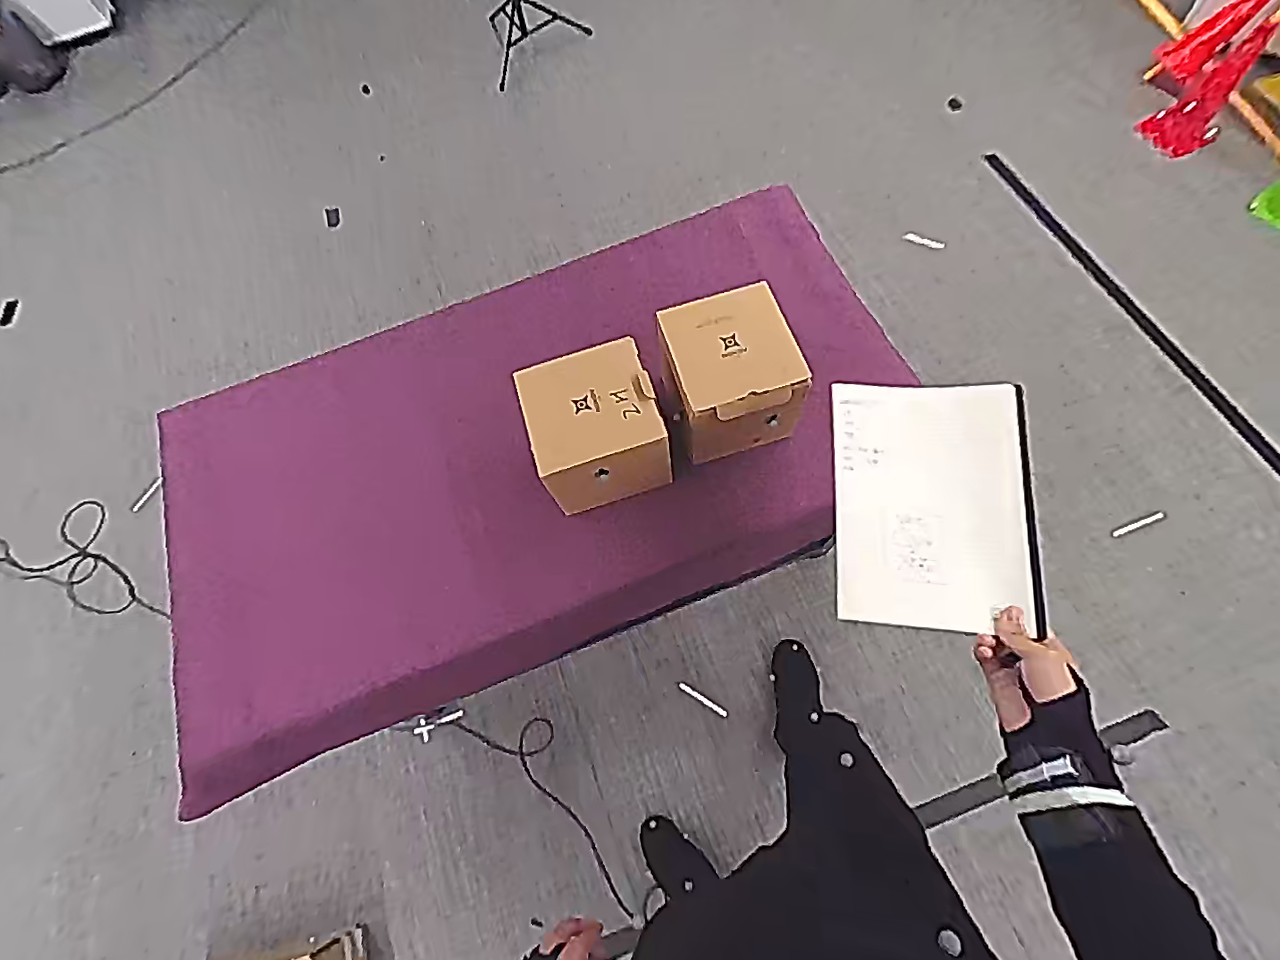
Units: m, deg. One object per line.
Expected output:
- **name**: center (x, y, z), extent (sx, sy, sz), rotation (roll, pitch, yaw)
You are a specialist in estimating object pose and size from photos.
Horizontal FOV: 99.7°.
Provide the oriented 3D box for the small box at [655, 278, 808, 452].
- **small box**: center (0.127, -0.156, 0.799), extent (0.168, 0.176, 0.179), rotation (-16, 68, -1)
